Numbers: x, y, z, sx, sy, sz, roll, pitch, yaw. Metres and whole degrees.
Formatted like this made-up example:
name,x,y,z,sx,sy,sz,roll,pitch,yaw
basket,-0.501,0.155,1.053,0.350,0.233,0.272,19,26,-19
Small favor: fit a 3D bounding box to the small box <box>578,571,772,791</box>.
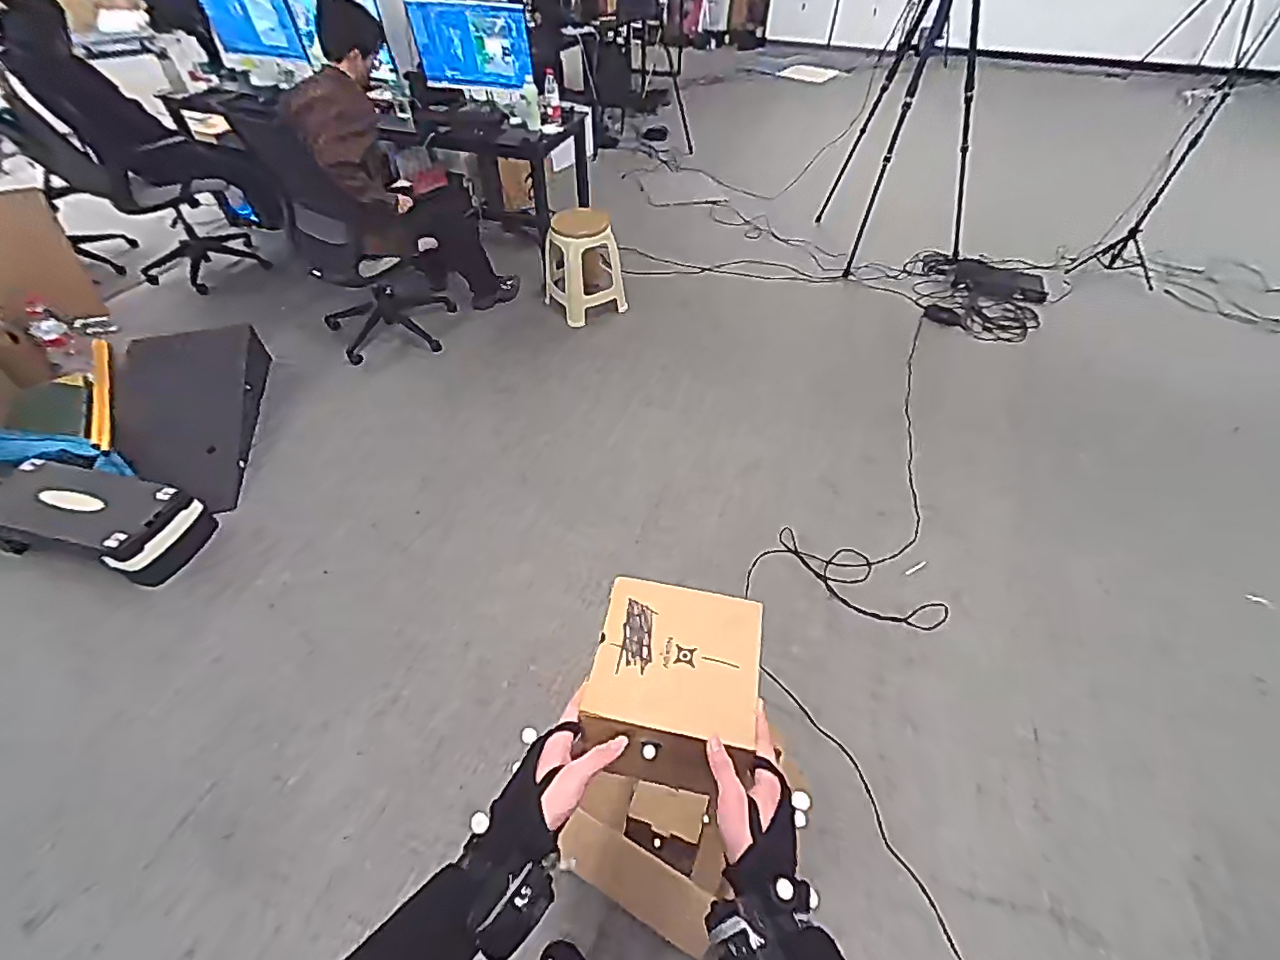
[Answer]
name,x,y,z,sx,sy,sz,roll,pitch,yaw
small box,0.043,0.234,0.626,0.179,0.176,0.168,12,48,10
